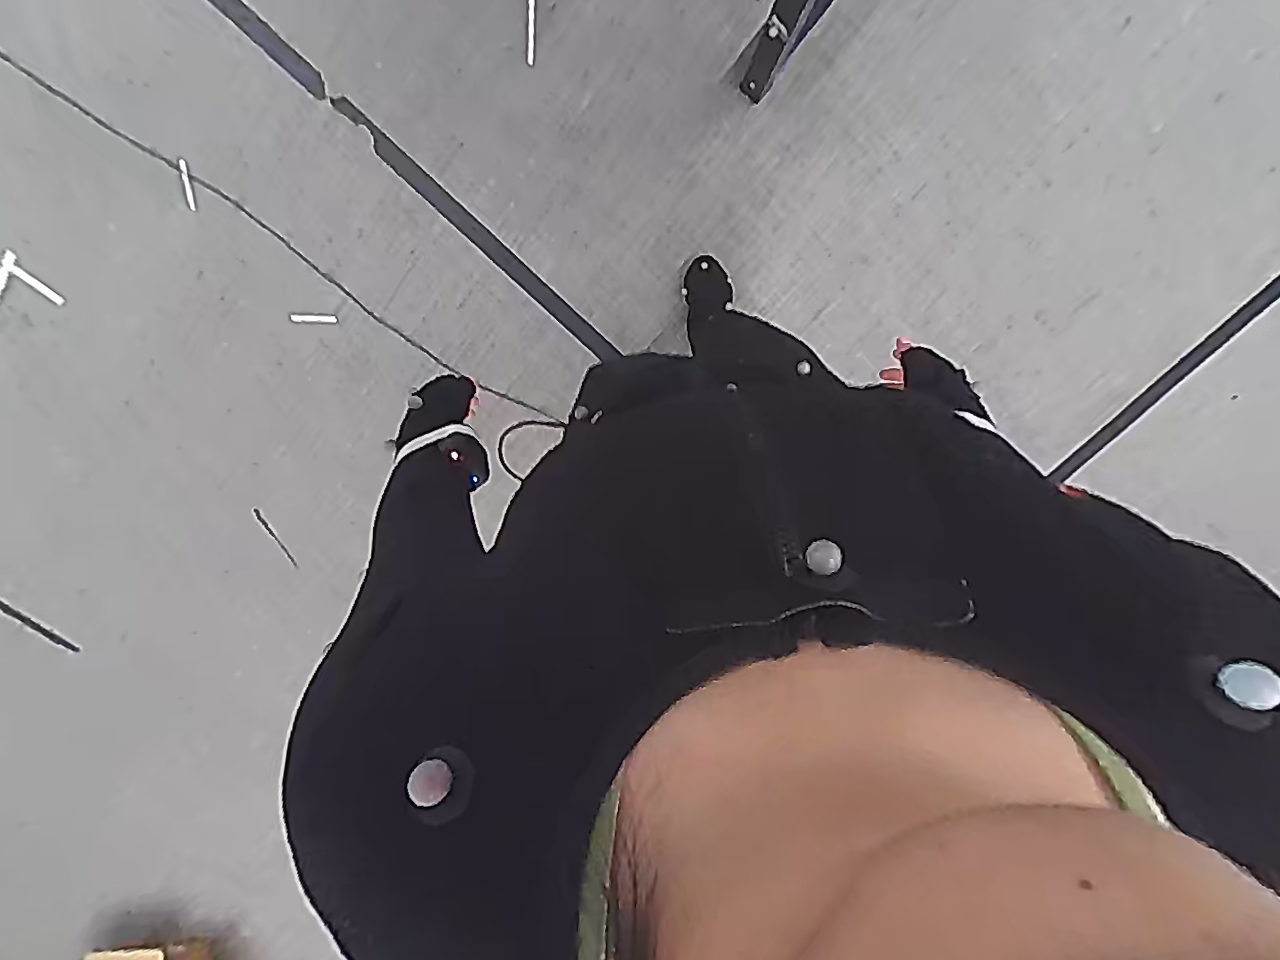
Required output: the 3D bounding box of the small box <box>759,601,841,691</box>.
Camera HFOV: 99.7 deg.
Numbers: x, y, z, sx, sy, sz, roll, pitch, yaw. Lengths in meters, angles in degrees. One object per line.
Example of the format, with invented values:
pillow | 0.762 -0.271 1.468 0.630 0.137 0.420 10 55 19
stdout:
small box | 0.458 0.477 1.579 0.168 0.176 0.179 12 108 -1
